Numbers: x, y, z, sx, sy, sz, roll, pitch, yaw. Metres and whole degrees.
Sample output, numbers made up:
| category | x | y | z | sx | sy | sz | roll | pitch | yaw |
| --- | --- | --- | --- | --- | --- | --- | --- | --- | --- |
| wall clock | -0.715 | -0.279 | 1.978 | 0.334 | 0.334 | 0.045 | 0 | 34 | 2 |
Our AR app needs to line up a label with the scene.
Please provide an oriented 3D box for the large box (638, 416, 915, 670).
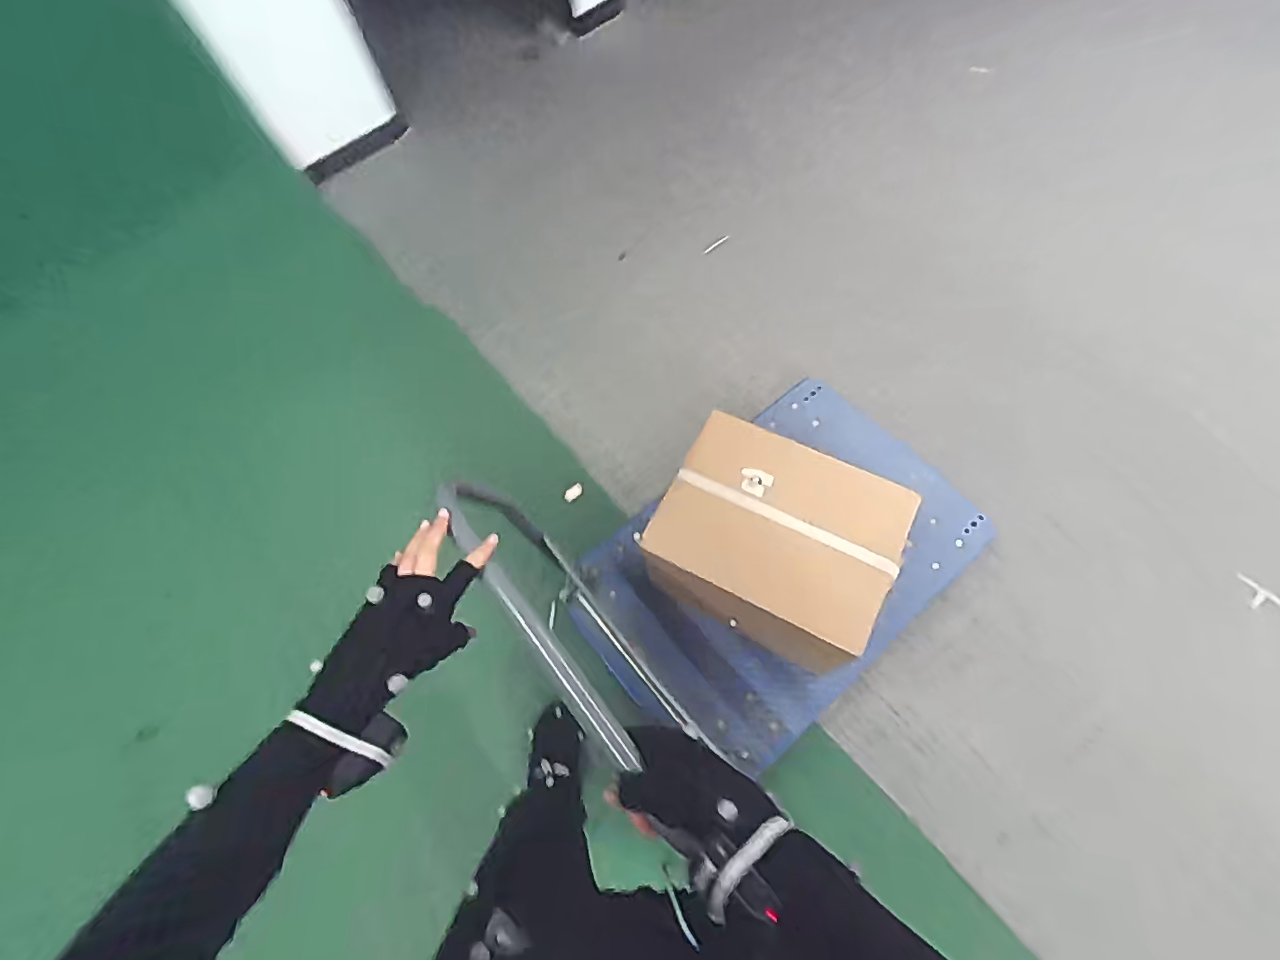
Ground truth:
| category | x | y | z | sx | sy | sz | roll | pitch | yaw |
| --- | --- | --- | --- | --- | --- | --- | --- | --- | --- |
| large box | 0.256 | 0.135 | 1.084 | 0.408 | 0.320 | 0.320 | 25 | 69 | 17 |
